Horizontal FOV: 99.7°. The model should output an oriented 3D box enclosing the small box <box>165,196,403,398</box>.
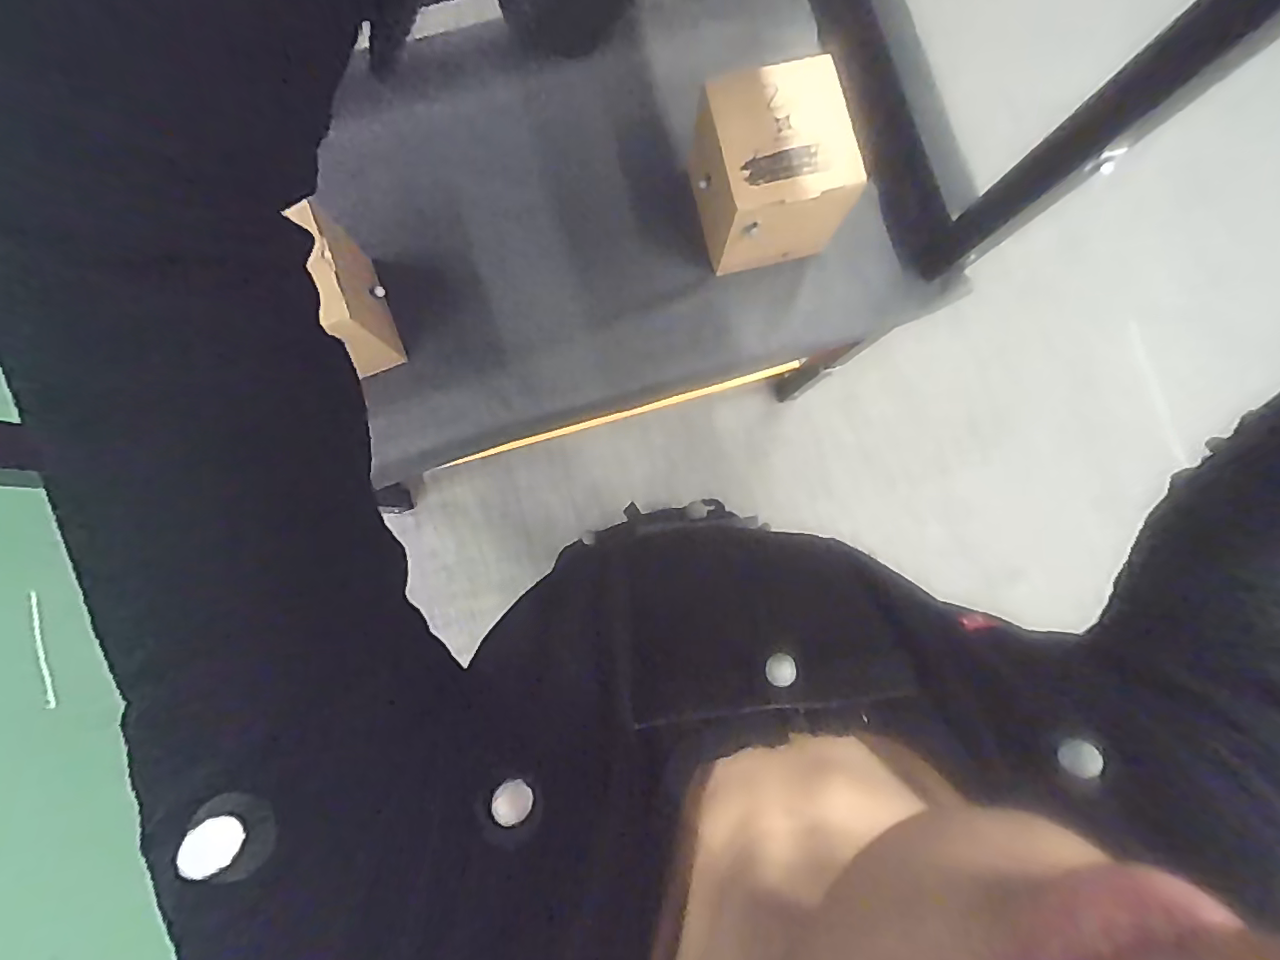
[{"bbox_3d":[-0.445,-0.222,0.703,0.179,0.176,0.168,-21,86,-4],"label":"small box"}]
